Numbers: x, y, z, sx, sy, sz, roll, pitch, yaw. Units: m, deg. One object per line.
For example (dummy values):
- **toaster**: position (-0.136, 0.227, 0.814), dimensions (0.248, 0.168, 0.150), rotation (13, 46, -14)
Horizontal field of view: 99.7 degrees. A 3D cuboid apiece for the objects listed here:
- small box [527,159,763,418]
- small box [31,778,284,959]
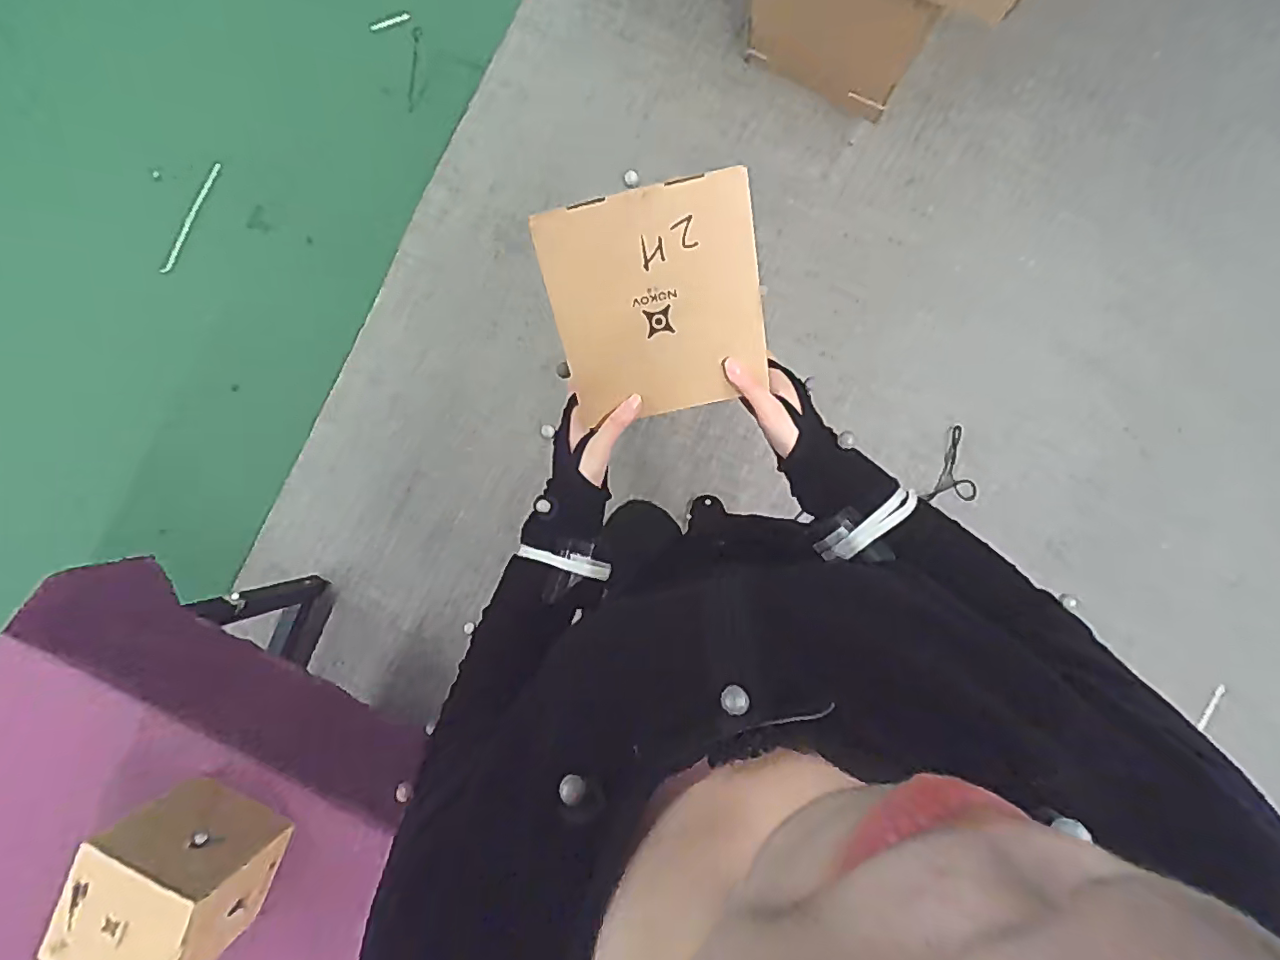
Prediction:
- **small box**: position (0.010, -0.180, 0.500), dimensions (0.168, 0.176, 0.179), rotation (-11, 117, 4)
- **small box**: position (-0.645, 0.554, 0.747), dimensions (0.179, 0.176, 0.168), rotation (23, 91, 5)
